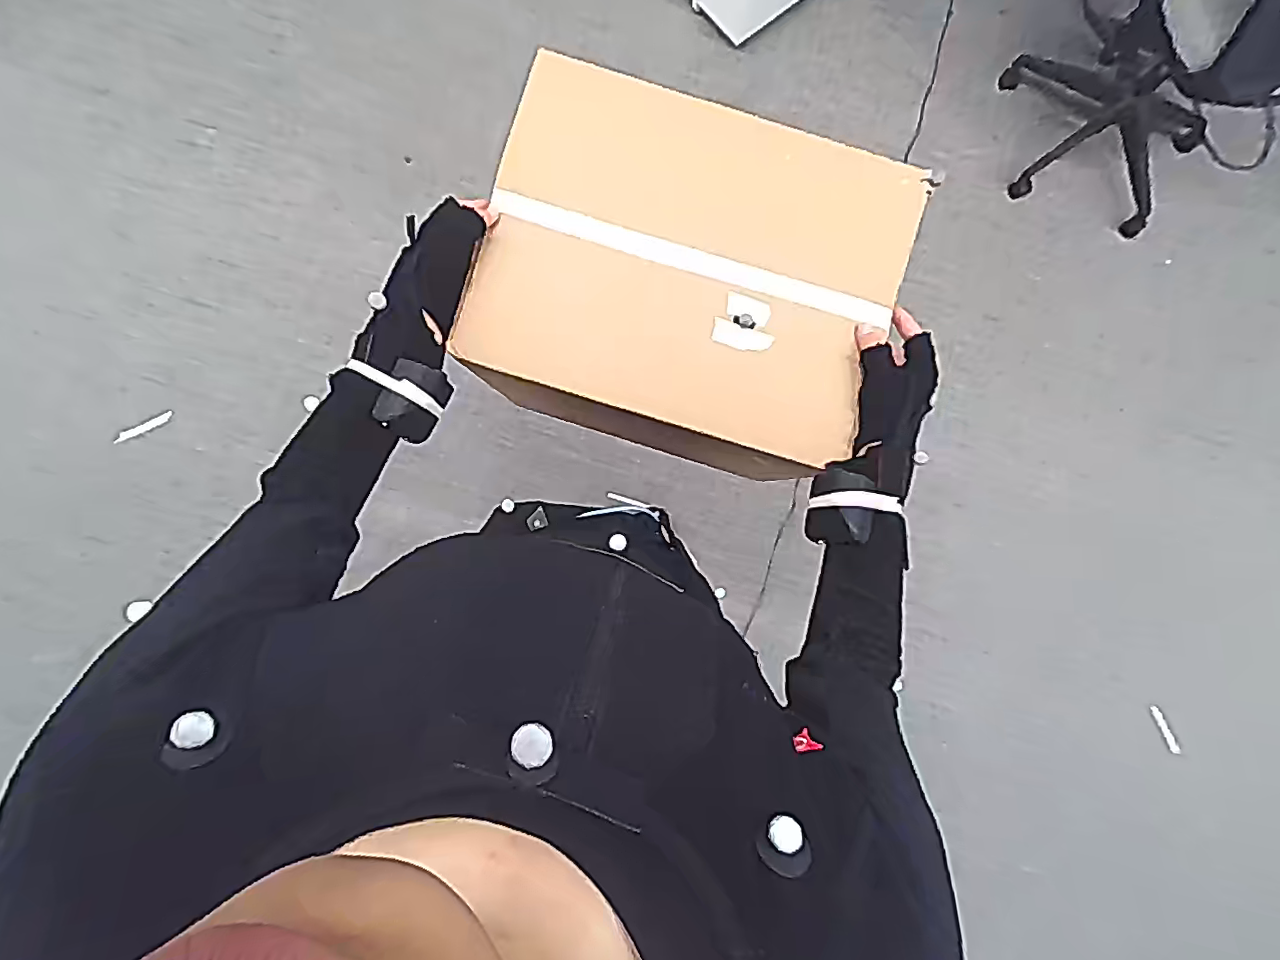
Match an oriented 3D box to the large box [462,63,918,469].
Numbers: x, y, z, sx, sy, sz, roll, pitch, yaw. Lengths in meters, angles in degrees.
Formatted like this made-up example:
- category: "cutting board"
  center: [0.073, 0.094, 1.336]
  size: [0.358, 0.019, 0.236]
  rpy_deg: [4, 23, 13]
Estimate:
- category: "large box"
  center: [0.047, -0.218, 0.690]
  size: [0.408, 0.320, 0.320]
  rpy_deg: [17, 90, -1]
